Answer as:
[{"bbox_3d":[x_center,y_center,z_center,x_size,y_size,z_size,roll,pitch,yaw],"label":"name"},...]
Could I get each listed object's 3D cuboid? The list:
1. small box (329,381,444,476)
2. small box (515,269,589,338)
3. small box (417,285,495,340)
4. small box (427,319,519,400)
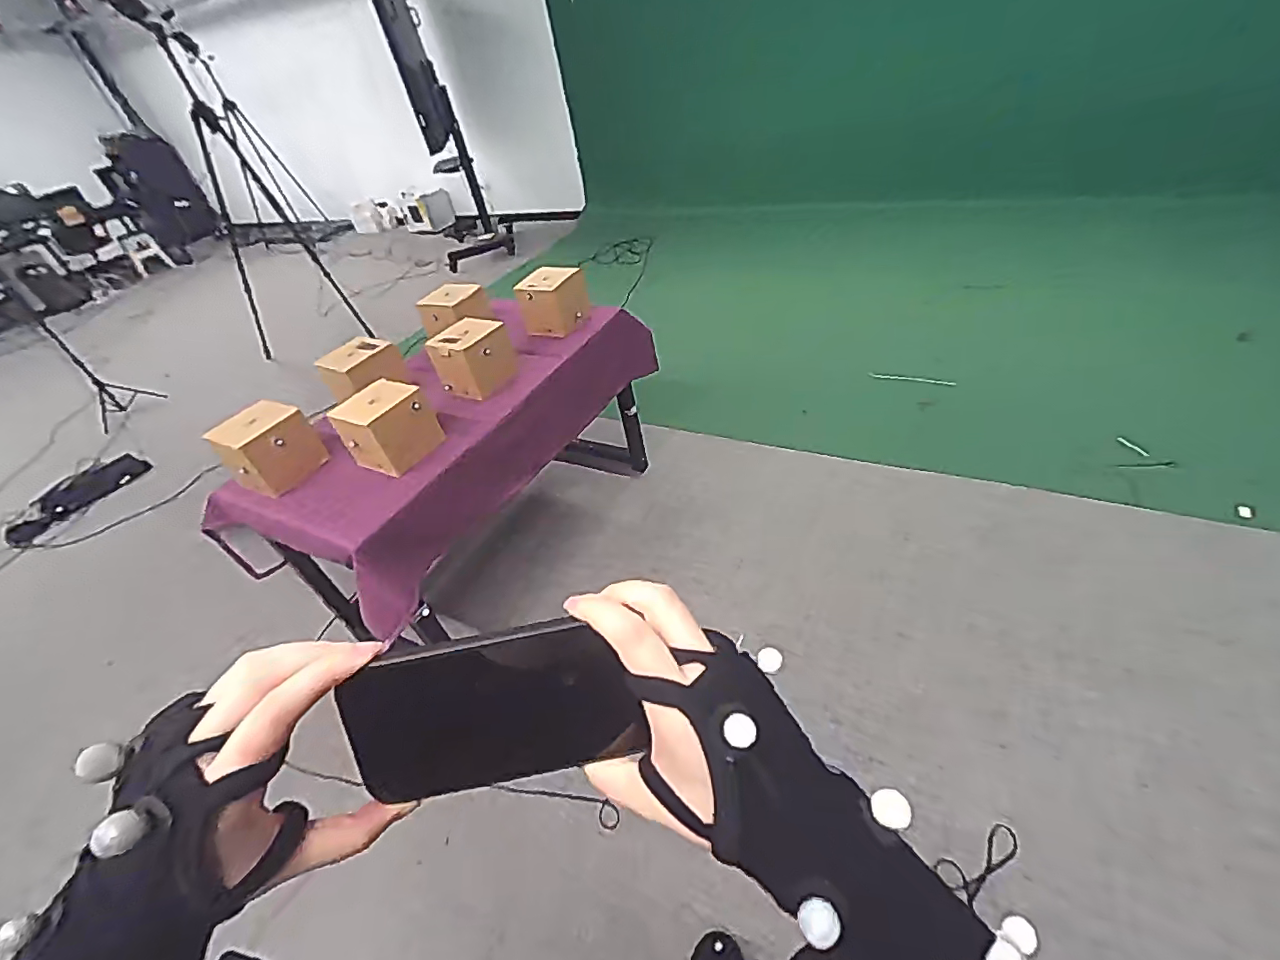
[{"bbox_3d":[-0.643,-0.132,1.394,0.168,0.176,0.179,14,46,28],"label":"small box"},{"bbox_3d":[-0.291,-0.604,1.846,0.168,0.176,0.179,12,46,27],"label":"small box"},{"bbox_3d":[-0.632,-0.564,1.885,0.179,0.176,0.168,11,46,25],"label":"small box"},{"bbox_3d":[-0.491,-0.360,1.616,0.168,0.176,0.179,16,47,29],"label":"small box"}]
